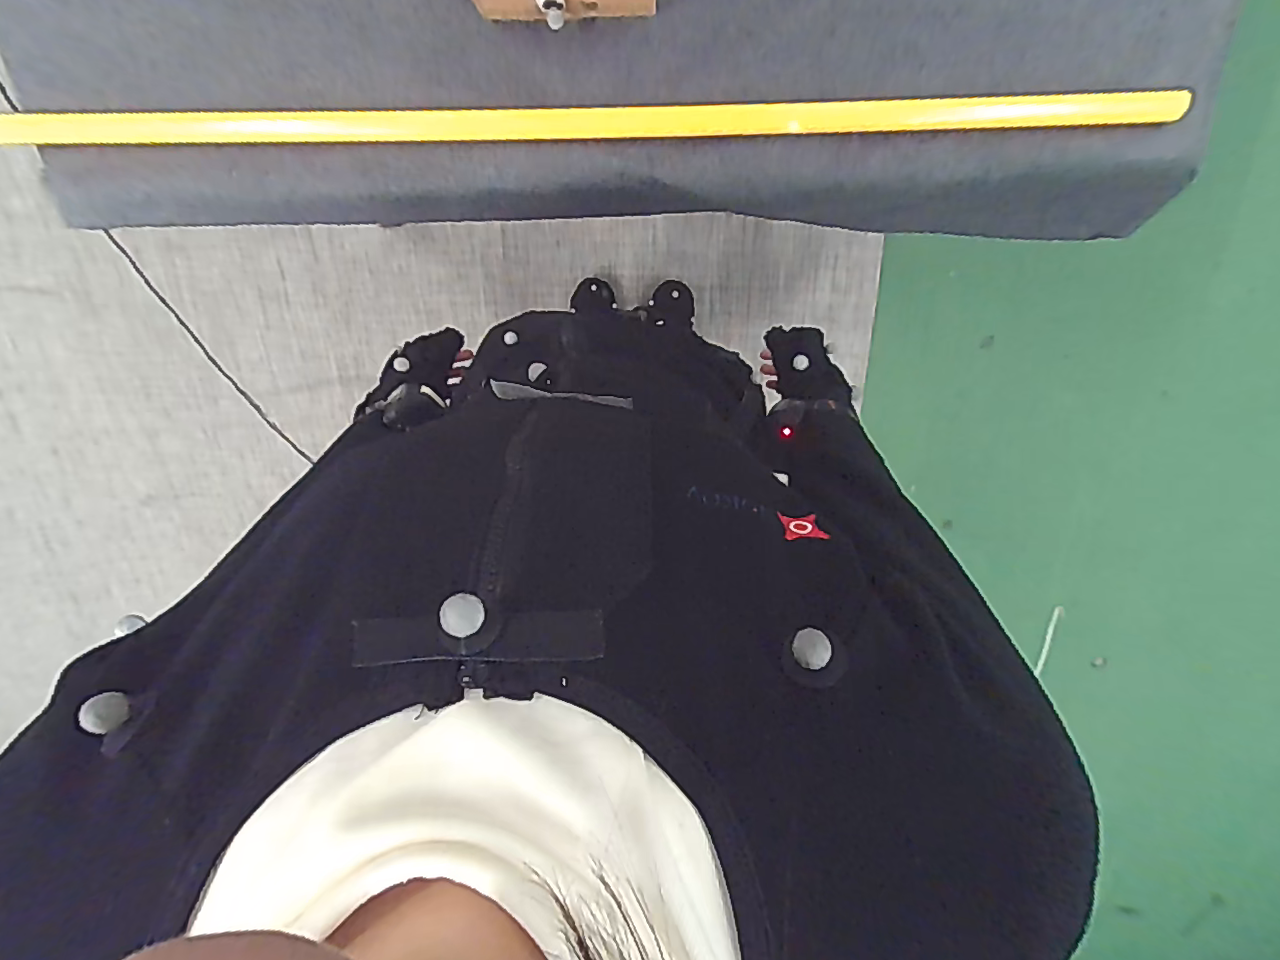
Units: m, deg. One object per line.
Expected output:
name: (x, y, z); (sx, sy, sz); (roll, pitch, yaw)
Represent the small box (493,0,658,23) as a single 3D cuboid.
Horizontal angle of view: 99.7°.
small box: (-0.068, -0.502, 0.422); (0.168, 0.176, 0.179); (-1, 112, 3)
